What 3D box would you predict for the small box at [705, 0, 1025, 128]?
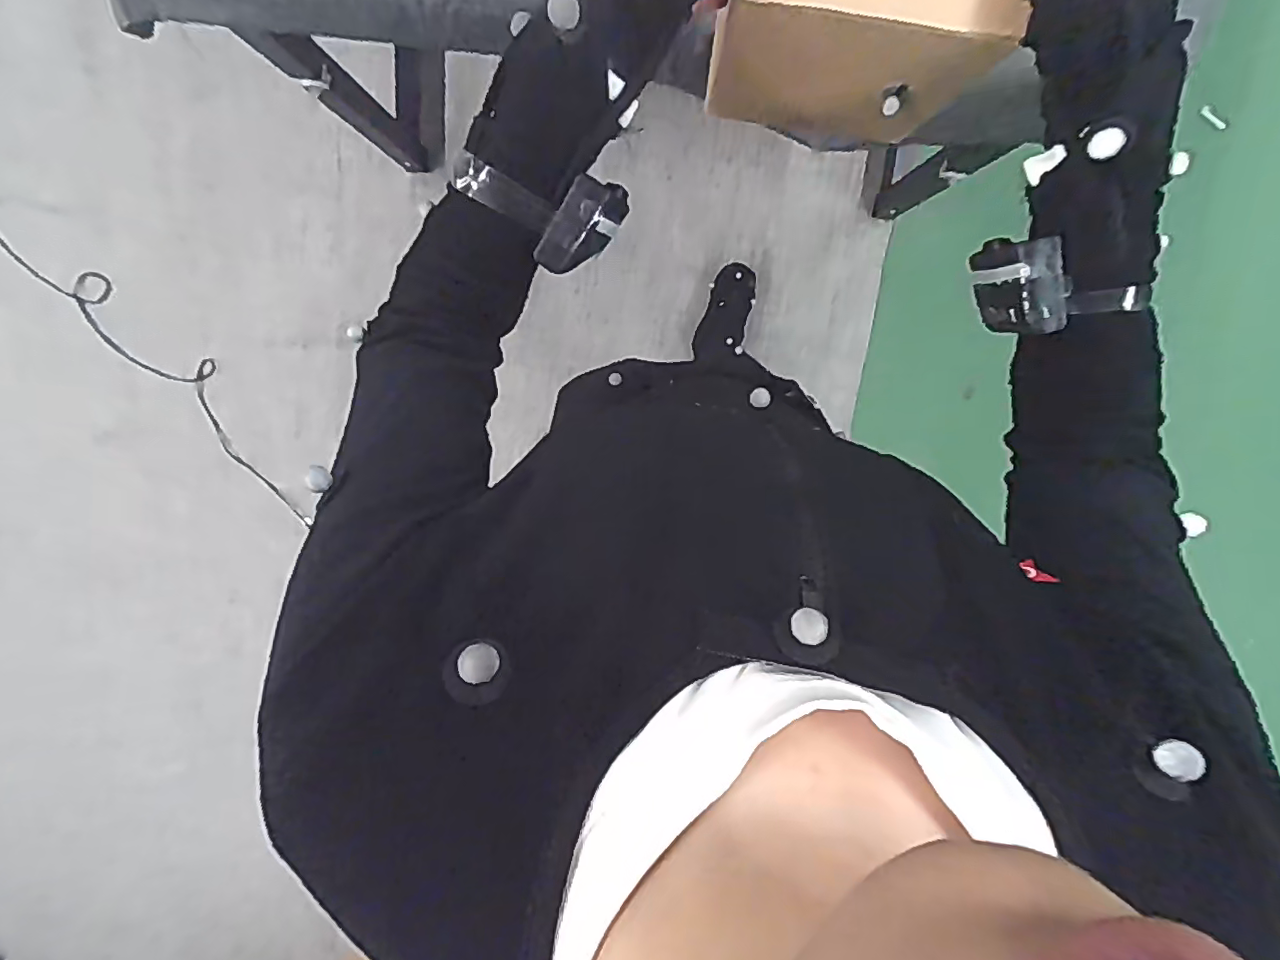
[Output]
[{"bbox_3d":[0.149,-0.374,0.380,0.179,0.176,0.168,6,103,0],"label":"small box"}]
